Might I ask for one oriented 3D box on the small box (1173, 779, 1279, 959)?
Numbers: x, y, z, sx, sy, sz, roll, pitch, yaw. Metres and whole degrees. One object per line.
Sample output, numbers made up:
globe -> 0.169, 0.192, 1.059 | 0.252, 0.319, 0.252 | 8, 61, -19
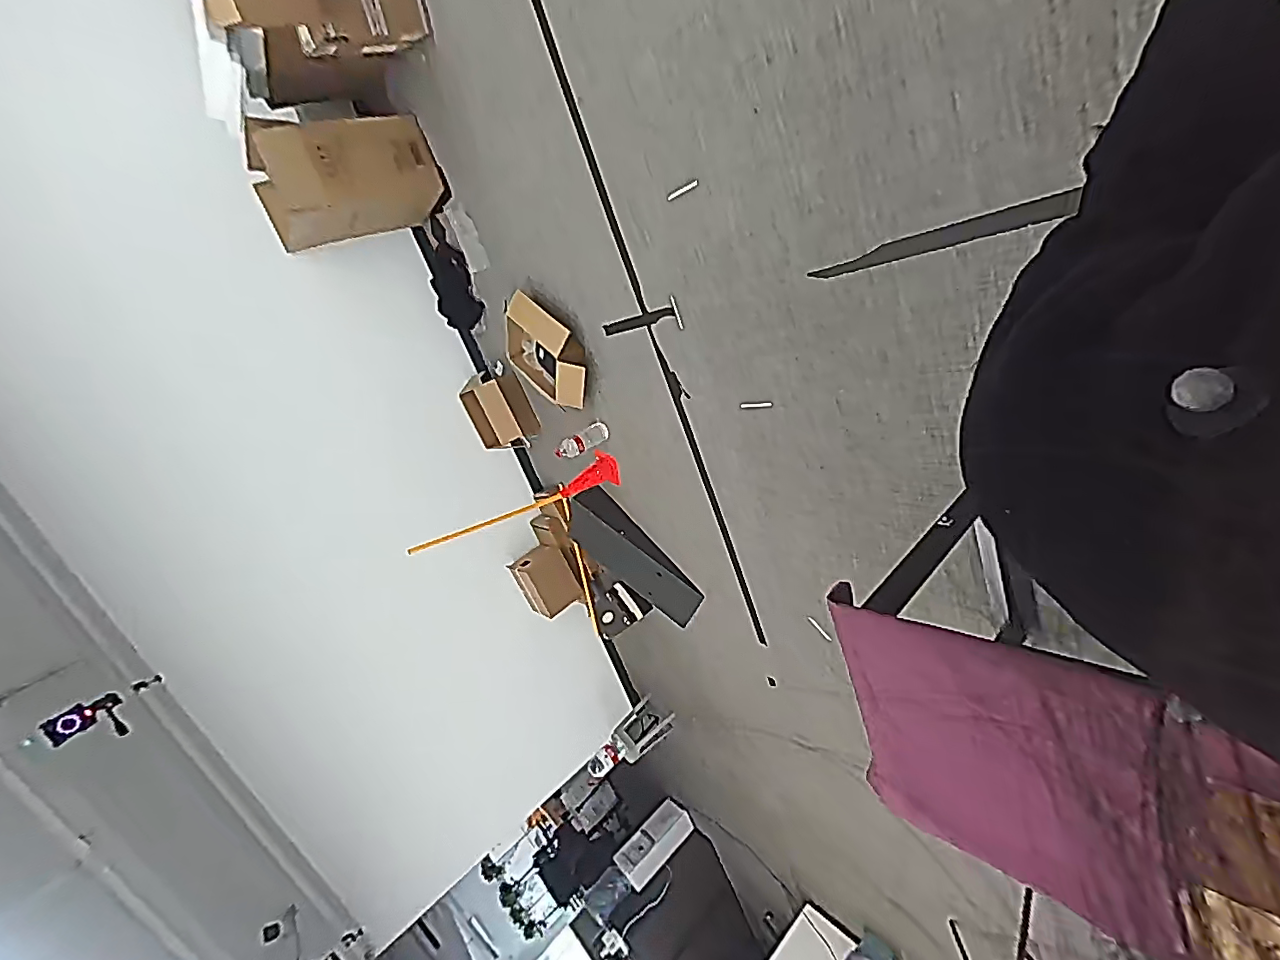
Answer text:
small box -> 0.807, 0.531, 0.681 | 0.168, 0.176, 0.179 | 9, 125, 52
